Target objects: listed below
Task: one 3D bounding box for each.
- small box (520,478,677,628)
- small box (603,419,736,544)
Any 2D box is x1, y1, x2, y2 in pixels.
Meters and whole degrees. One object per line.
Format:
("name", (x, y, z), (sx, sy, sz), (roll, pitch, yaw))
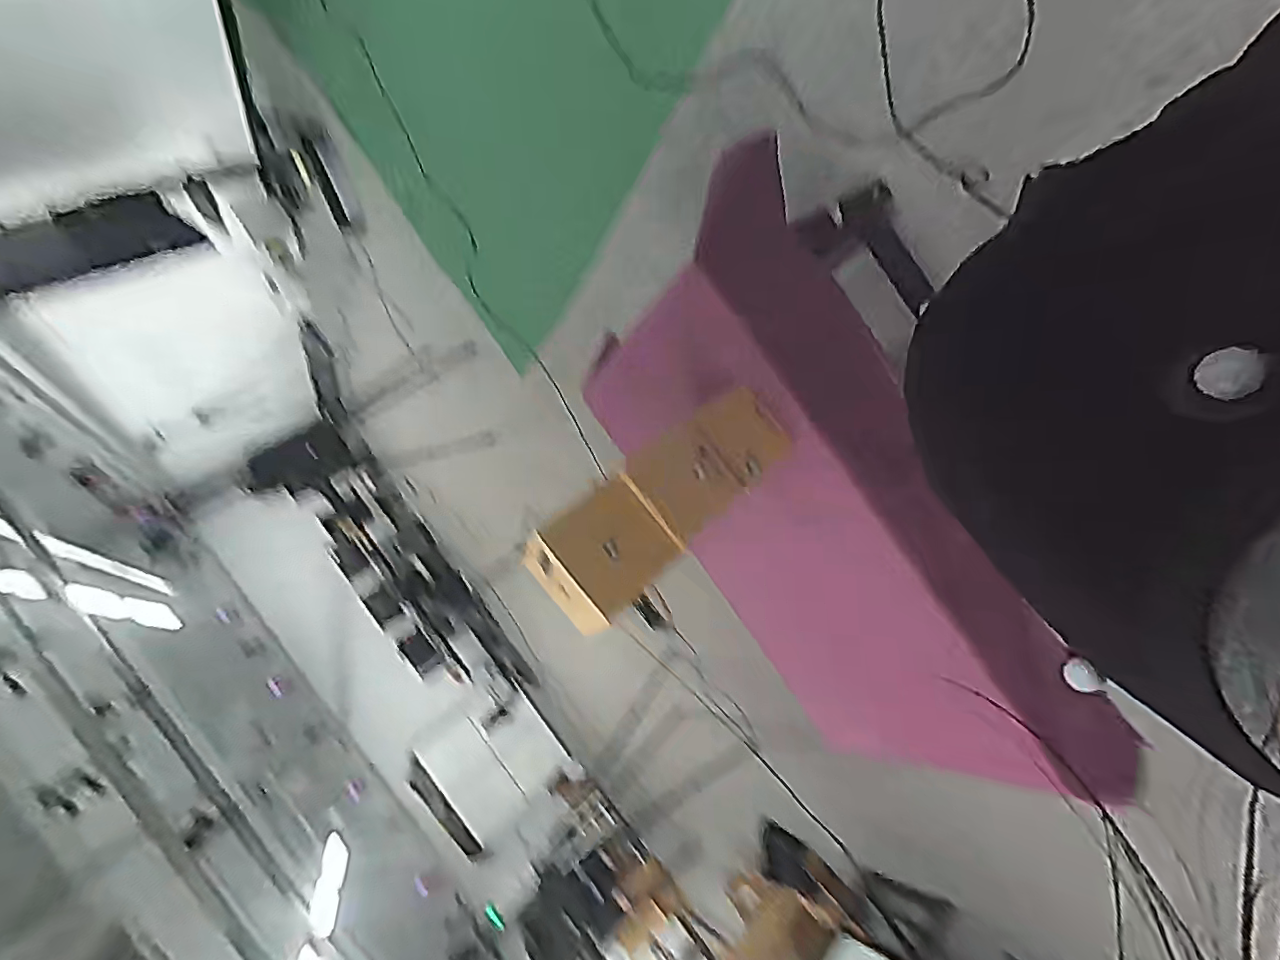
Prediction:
("small box", (-0.072, 0.117, 0.906), (0.179, 0.176, 0.168), (49, 151, 6))
("small box", (0.041, 0.021, 0.978), (0.168, 0.176, 0.179), (51, 150, 4))
